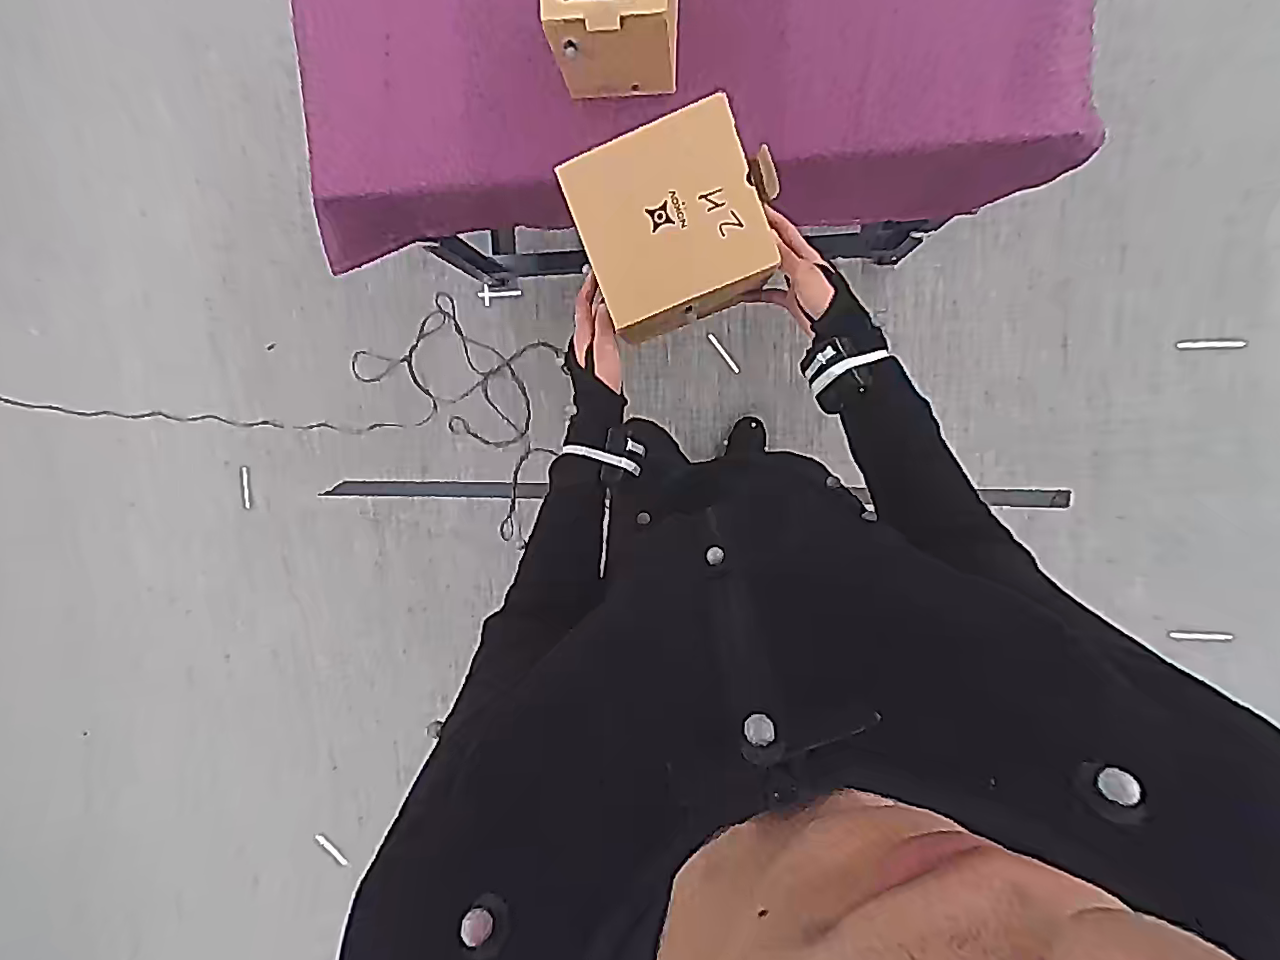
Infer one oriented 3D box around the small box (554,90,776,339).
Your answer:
[{"bbox_3d":[0.029,-0.269,0.597,0.179,0.176,0.168,-20,96,6],"label":"small box"}]
